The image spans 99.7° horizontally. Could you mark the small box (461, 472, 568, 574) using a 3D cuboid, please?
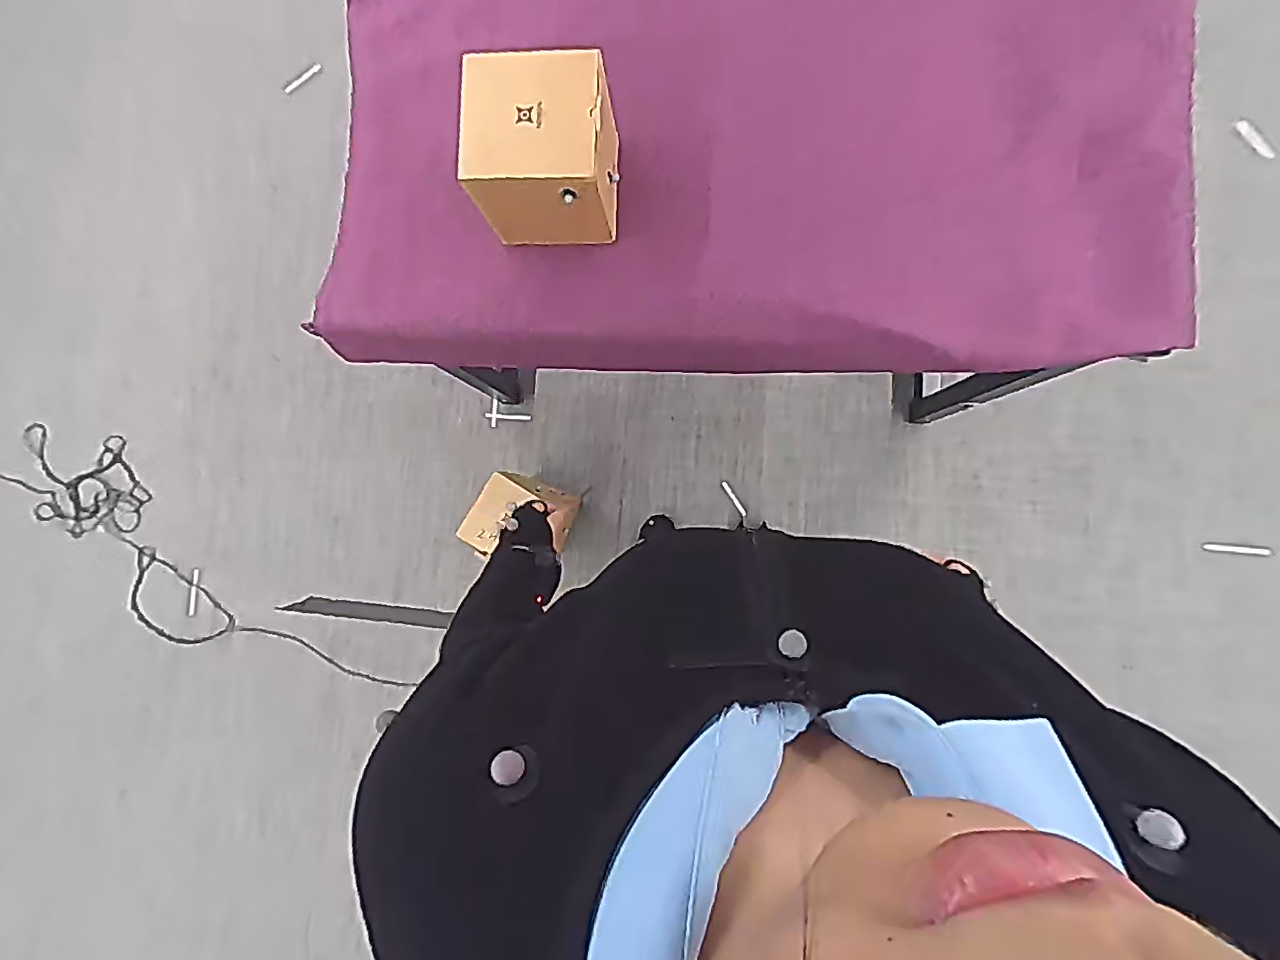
[{"bbox_3d":[-0.290,0.098,1.297,0.168,0.176,0.179,32,91,6],"label":"small box"}]

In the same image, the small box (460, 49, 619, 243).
[{"bbox_3d":[-0.128,-0.445,0.745,0.179,0.176,0.168,1,87,4],"label":"small box"}]
